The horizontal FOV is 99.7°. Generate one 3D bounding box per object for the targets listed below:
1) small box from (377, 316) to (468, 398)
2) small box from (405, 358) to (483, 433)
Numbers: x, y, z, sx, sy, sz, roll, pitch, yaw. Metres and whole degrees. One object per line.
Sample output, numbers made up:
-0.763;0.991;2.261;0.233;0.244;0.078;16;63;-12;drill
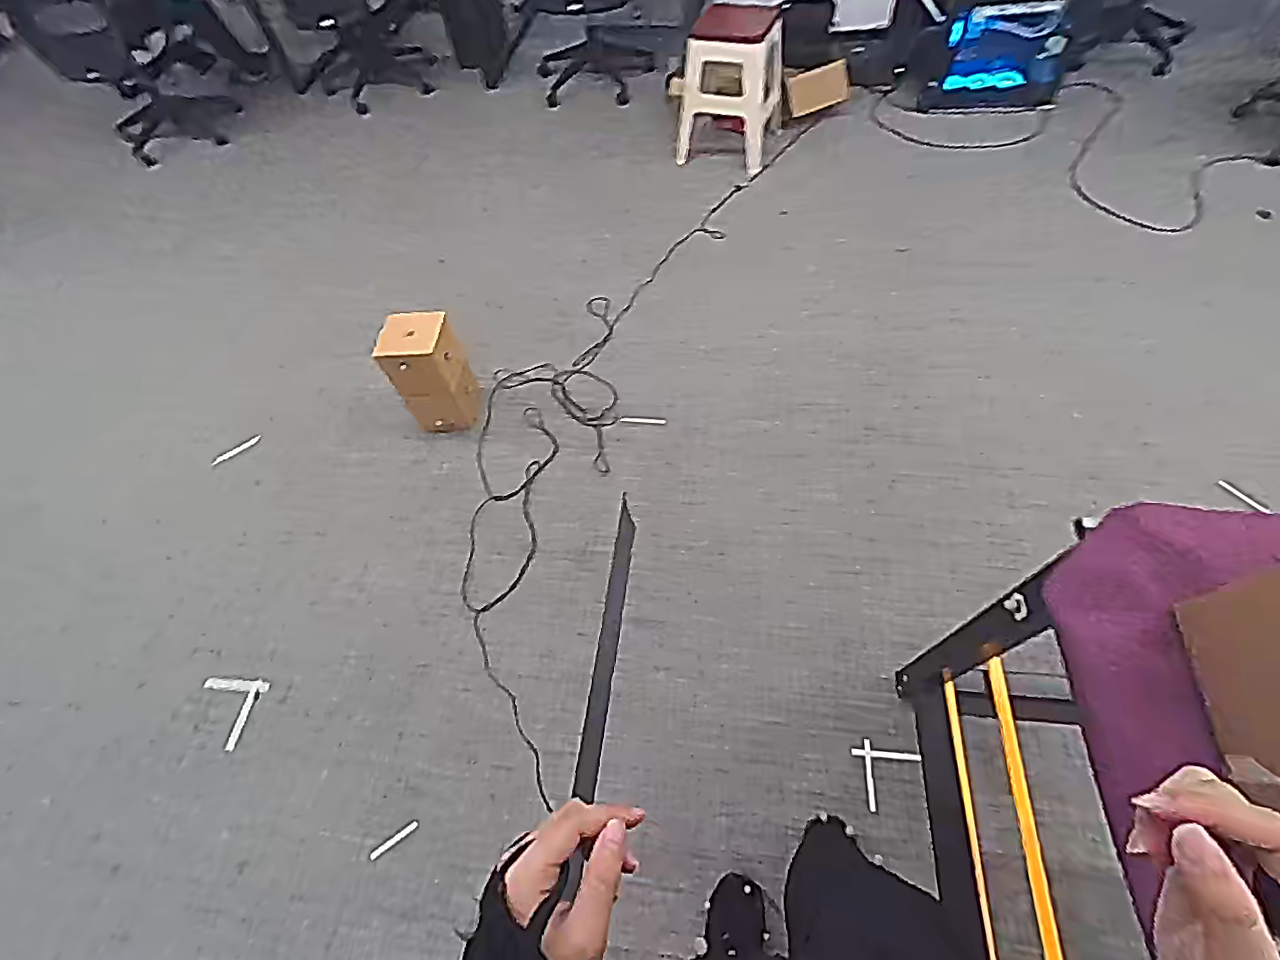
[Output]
-0.623;-0.355;1.578;0.179;0.176;0.168;-2;58;7;small box
-0.612;-0.269;1.715;0.168;0.176;0.179;-3;58;5;small box
